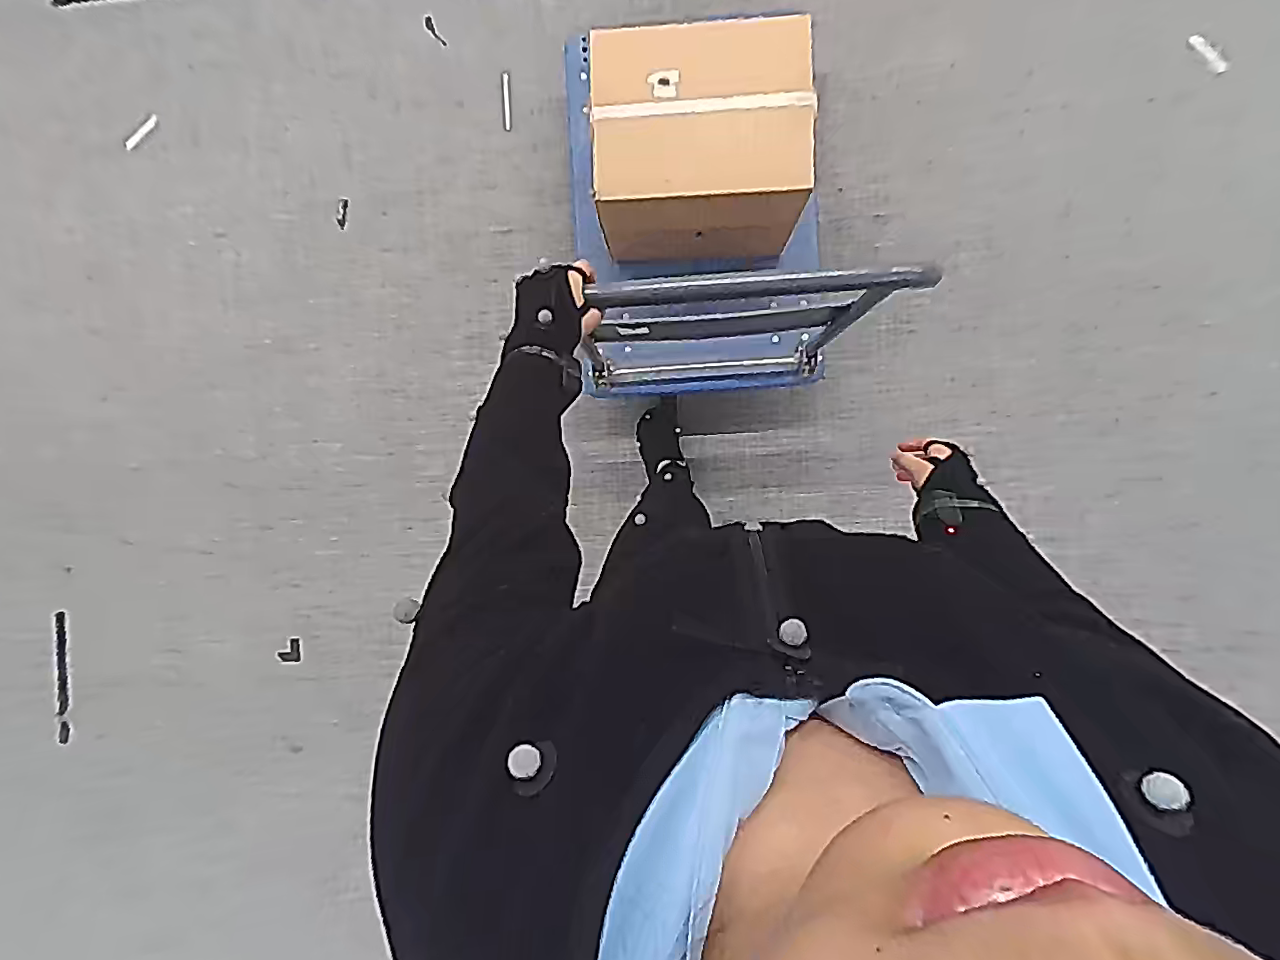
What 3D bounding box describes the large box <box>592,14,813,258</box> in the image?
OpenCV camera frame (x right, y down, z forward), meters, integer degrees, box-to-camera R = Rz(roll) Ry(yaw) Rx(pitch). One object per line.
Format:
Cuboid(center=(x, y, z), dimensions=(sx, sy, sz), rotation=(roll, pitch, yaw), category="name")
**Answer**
Cuboid(center=(0.126, -0.691, 1.149), dimensions=(0.408, 0.320, 0.320), rotation=(-2, 91, 4), category="large box")
